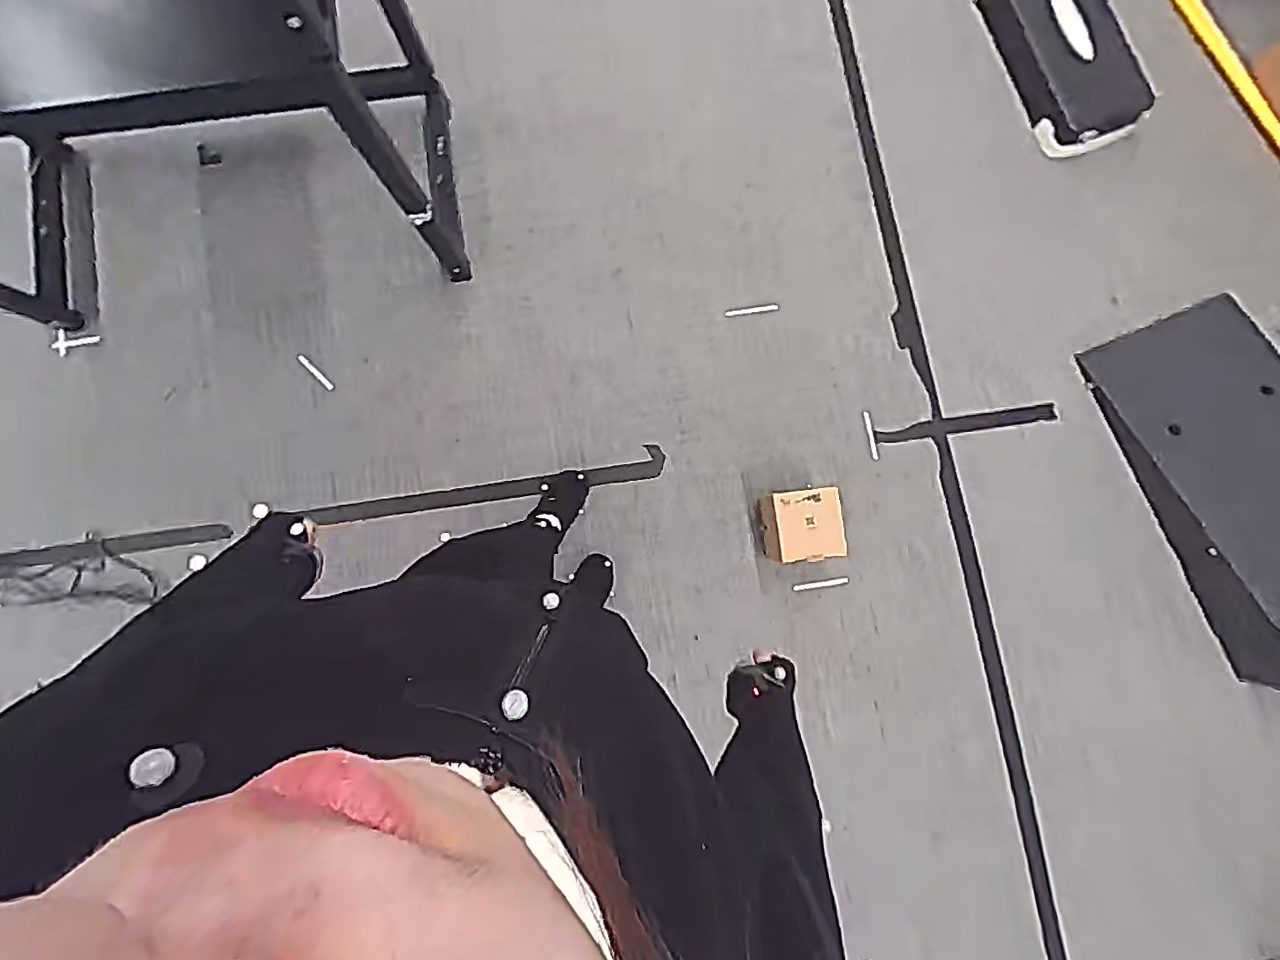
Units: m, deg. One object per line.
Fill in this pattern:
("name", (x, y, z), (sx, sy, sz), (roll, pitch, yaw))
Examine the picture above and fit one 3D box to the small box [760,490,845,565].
("small box", (0.422, 0.122, 1.422), (0.168, 0.176, 0.179), (-6, 86, -1))
